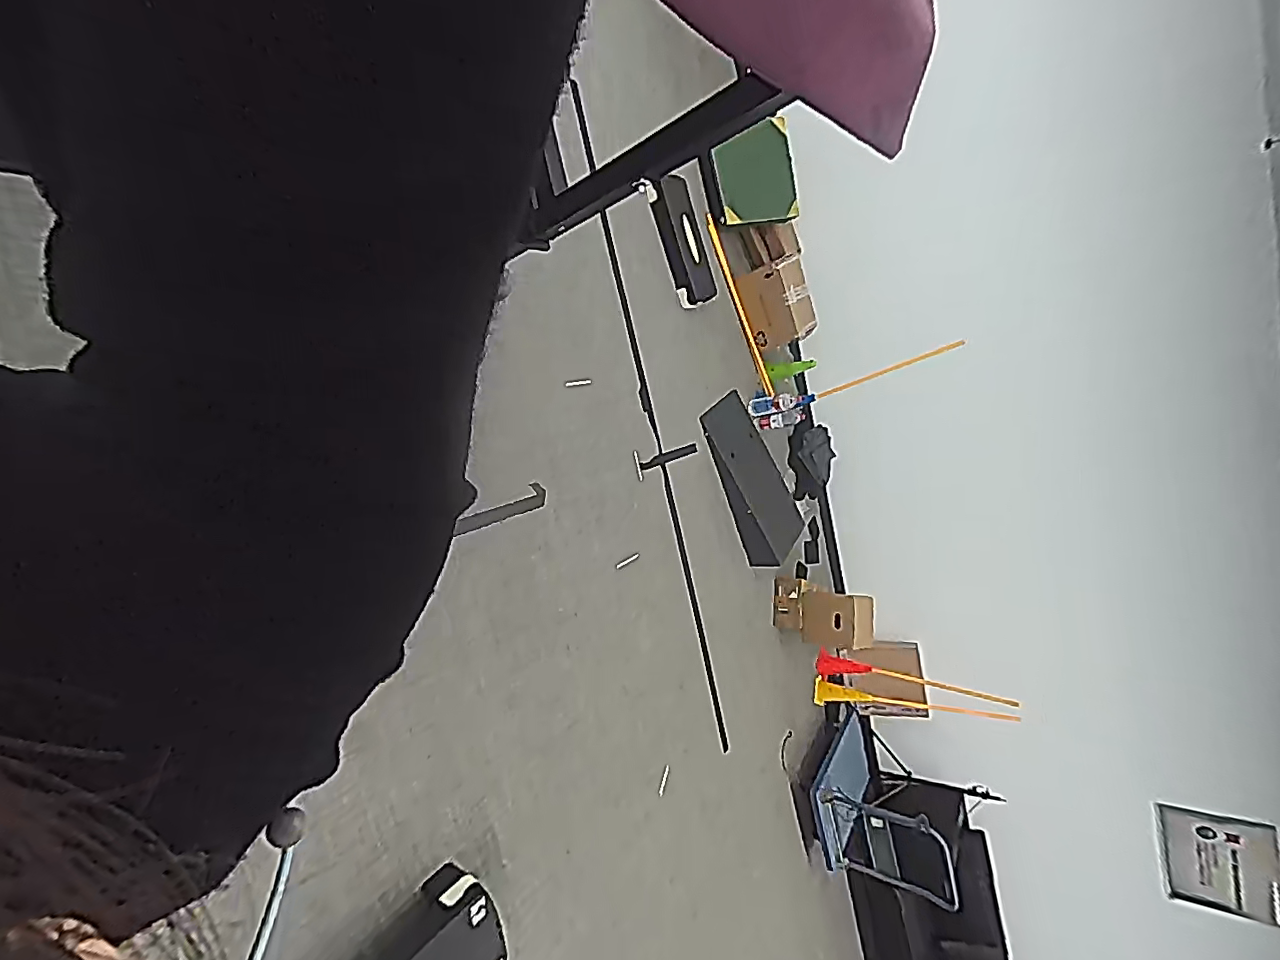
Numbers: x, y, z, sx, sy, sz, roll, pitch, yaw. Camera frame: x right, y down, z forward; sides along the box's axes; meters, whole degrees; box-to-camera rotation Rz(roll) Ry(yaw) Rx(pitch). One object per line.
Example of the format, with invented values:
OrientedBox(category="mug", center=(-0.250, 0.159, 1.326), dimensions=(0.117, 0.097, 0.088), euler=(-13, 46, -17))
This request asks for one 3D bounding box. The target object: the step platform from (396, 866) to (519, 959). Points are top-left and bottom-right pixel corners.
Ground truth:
OrientedBox(category="step platform", center=(-0.620, 1.326, 1.339), dimensions=(0.684, 0.204, 0.286), euler=(-12, 94, -52))
